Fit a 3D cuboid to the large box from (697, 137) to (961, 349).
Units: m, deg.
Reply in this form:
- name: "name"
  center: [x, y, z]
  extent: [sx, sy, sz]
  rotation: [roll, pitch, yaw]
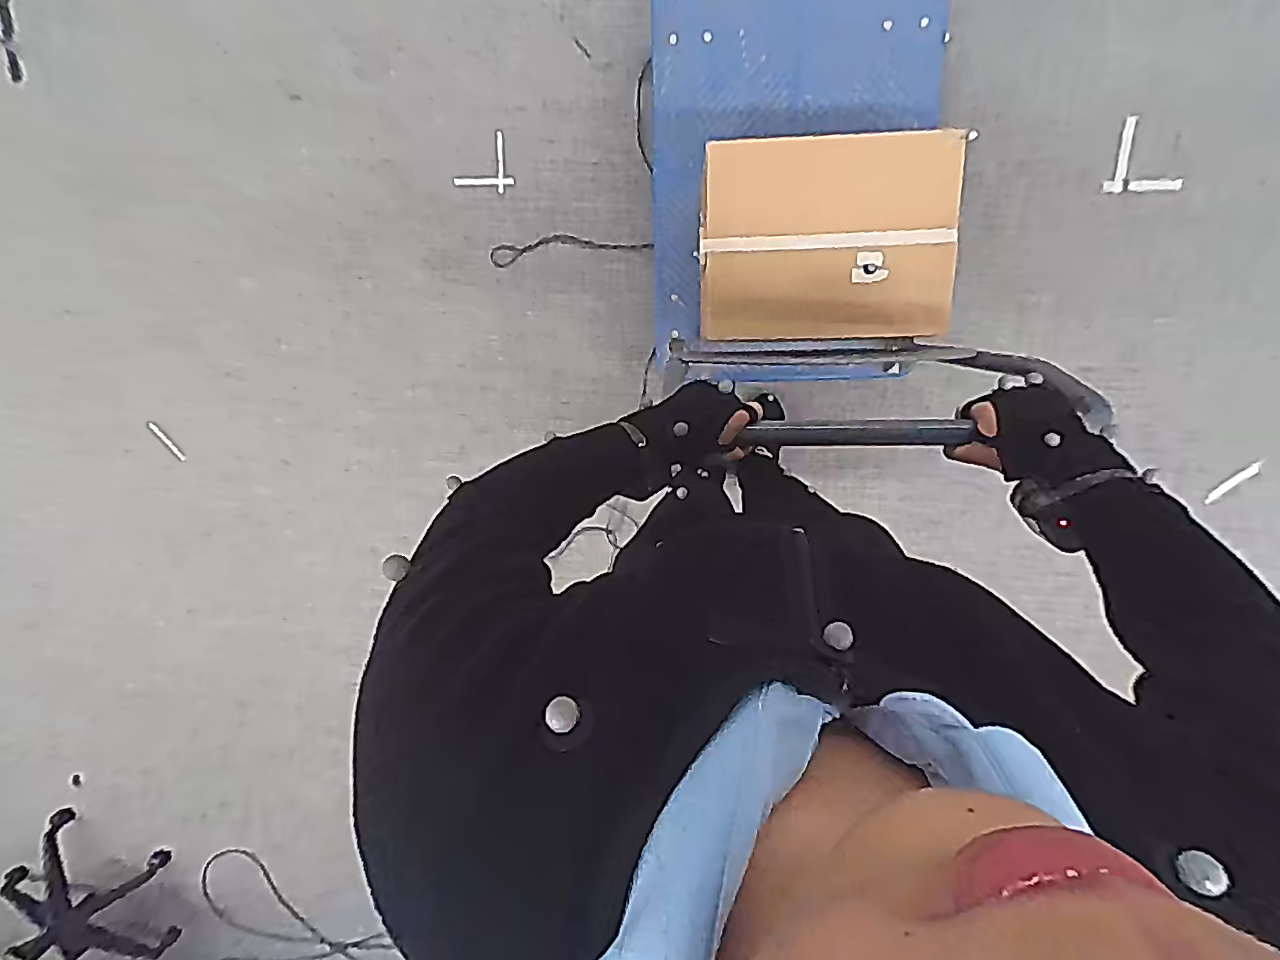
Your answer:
- name: "large box"
  center: [0.317, -0.416, 1.034]
  extent: [0.408, 0.320, 0.320]
  rotation: [0, 104, 4]
